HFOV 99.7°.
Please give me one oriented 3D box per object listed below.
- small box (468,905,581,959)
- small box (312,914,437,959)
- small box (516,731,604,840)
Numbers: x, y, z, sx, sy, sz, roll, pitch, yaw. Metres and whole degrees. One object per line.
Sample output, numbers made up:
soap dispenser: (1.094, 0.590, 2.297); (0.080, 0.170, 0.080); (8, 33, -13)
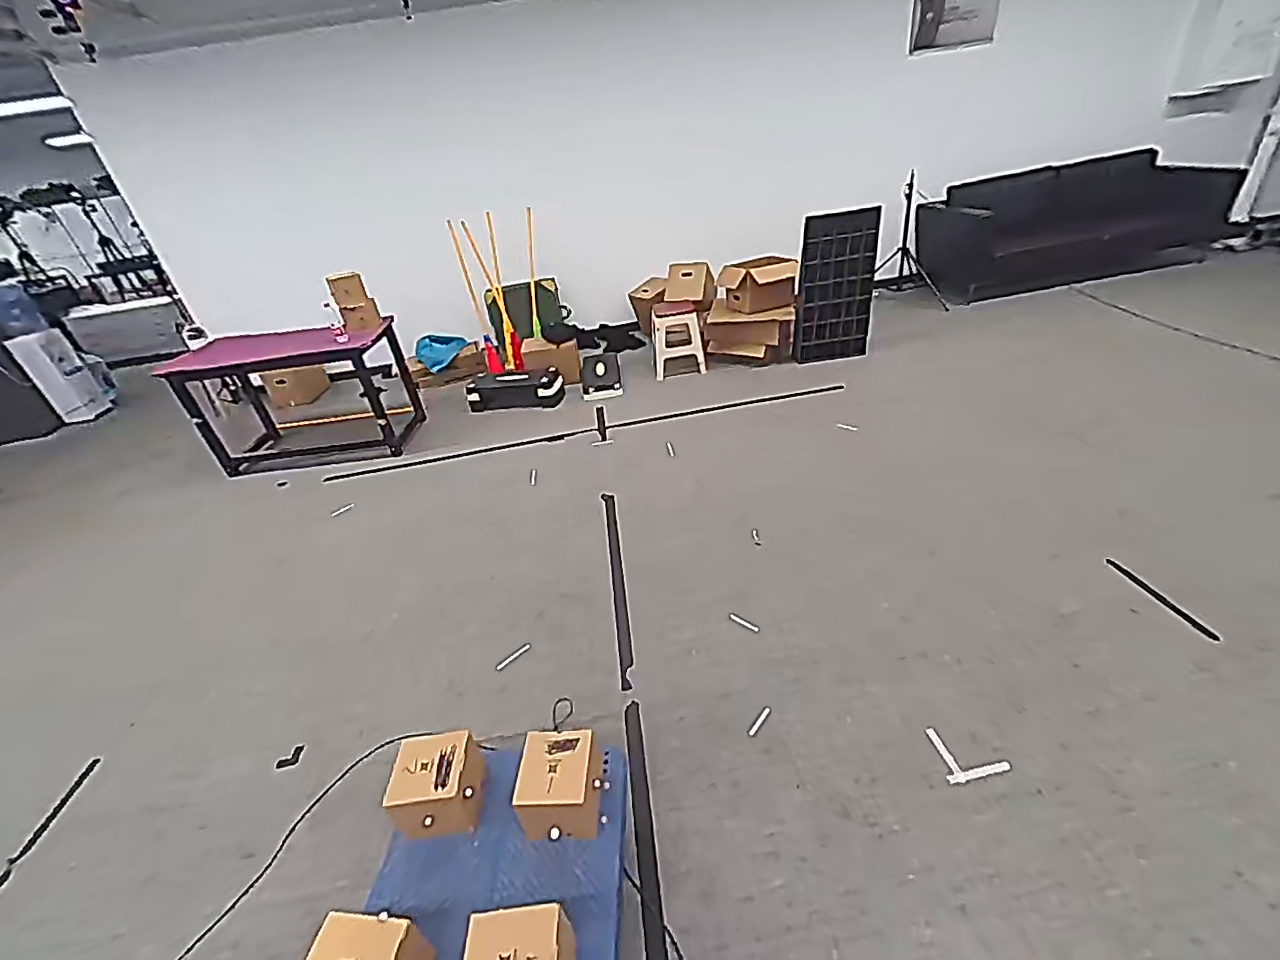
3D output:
small box: (-0.216, 0.932, 1.006); (0.179, 0.176, 0.168); (-8, 33, 1)
small box: (-0.521, 0.967, 1.029); (0.179, 0.176, 0.168); (-2, 33, 9)
small box: (-0.184, 0.734, 1.303); (0.168, 0.176, 0.179); (-5, 34, 6)
